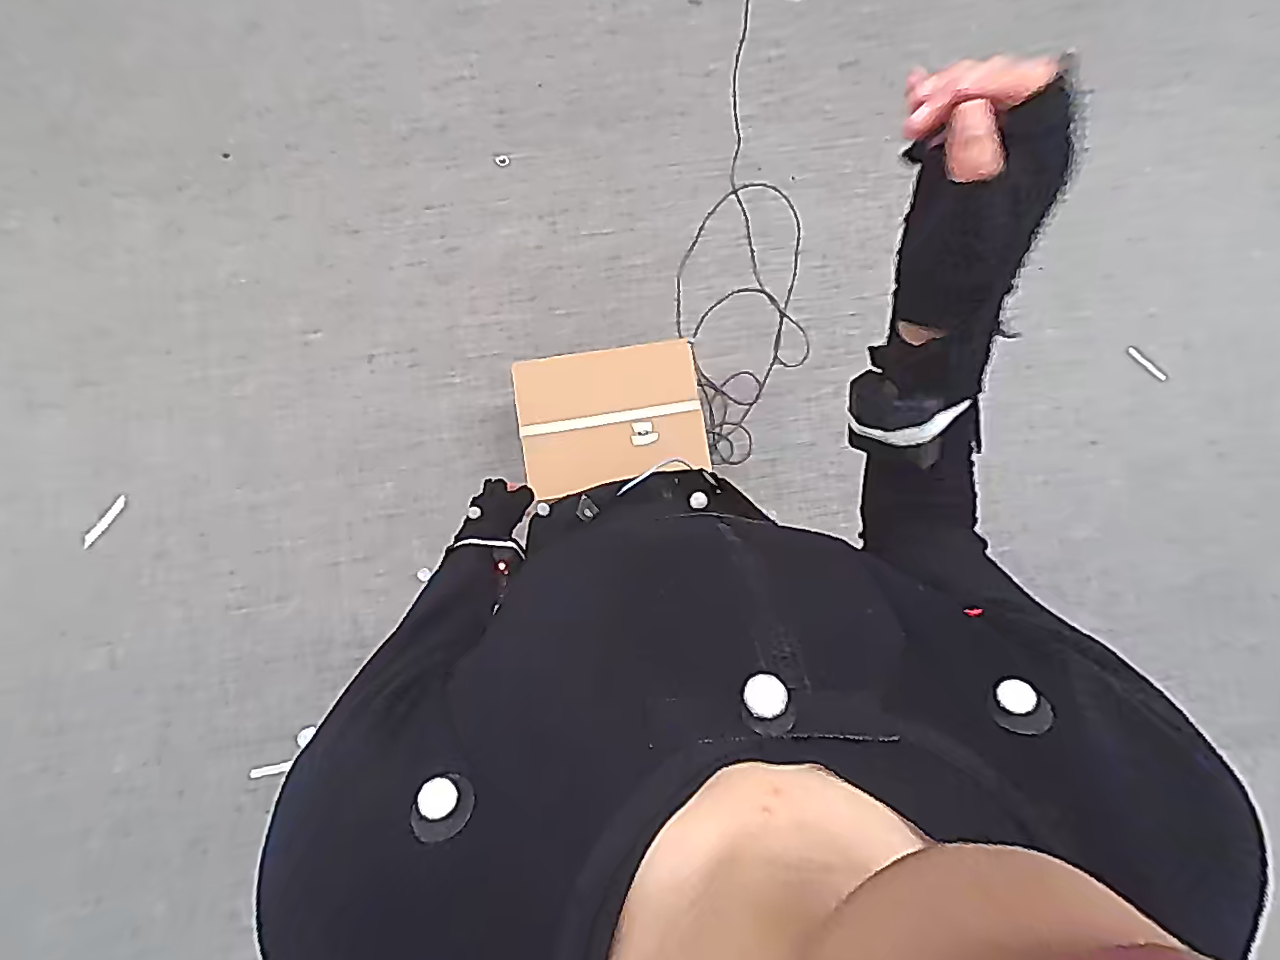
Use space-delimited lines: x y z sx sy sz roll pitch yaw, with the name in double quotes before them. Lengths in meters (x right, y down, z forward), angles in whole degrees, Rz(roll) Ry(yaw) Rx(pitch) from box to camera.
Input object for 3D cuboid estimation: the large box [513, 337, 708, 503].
"large box" -0.074 -0.131 1.353 0.408 0.320 0.320 -9 86 -3
